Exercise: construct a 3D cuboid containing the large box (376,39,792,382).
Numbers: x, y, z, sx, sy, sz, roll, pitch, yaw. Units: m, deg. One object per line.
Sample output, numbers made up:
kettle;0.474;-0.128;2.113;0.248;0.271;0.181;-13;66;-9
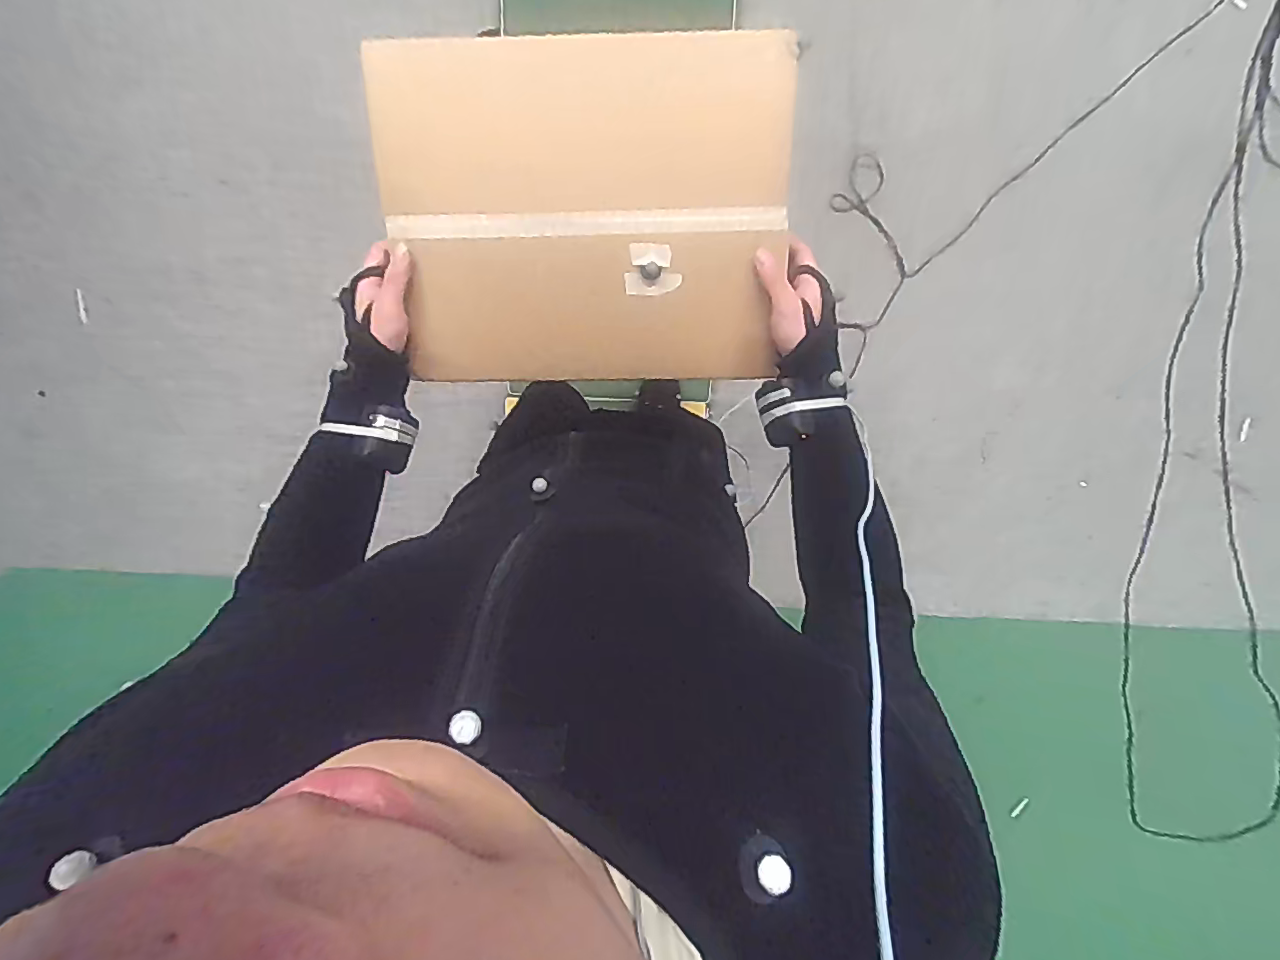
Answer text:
large box;-0.051;-0.306;0.696;0.408;0.320;0.320;-1;109;1
